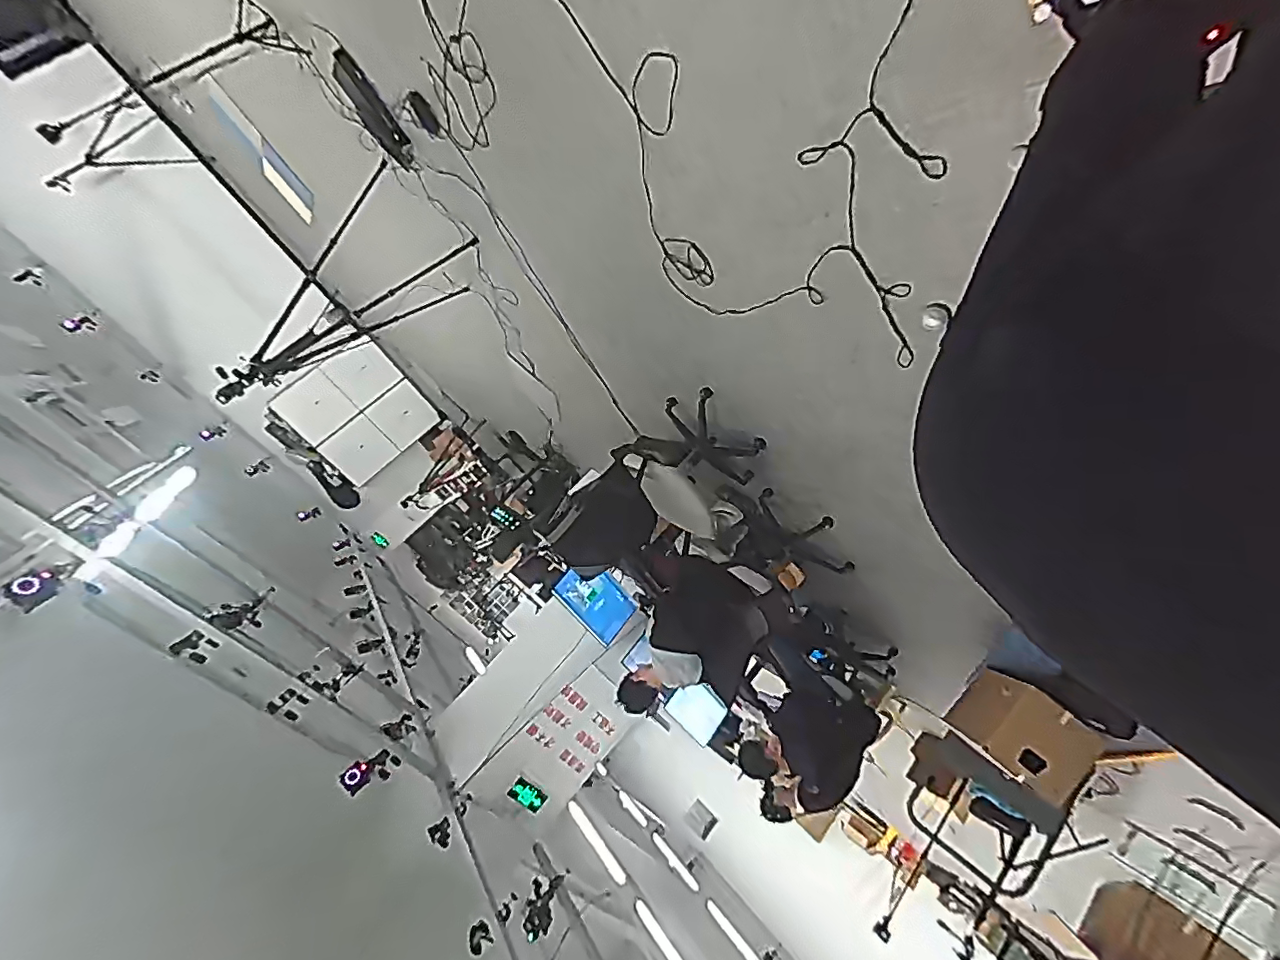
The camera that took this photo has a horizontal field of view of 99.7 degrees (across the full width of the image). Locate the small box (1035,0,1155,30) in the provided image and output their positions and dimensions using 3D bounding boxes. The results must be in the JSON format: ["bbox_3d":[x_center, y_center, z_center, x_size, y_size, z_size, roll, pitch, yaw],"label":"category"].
[{"bbox_3d":[0.452,-0.535,0.456,0.168,0.179,0.176,5,113,56],"label":"small box"}]
